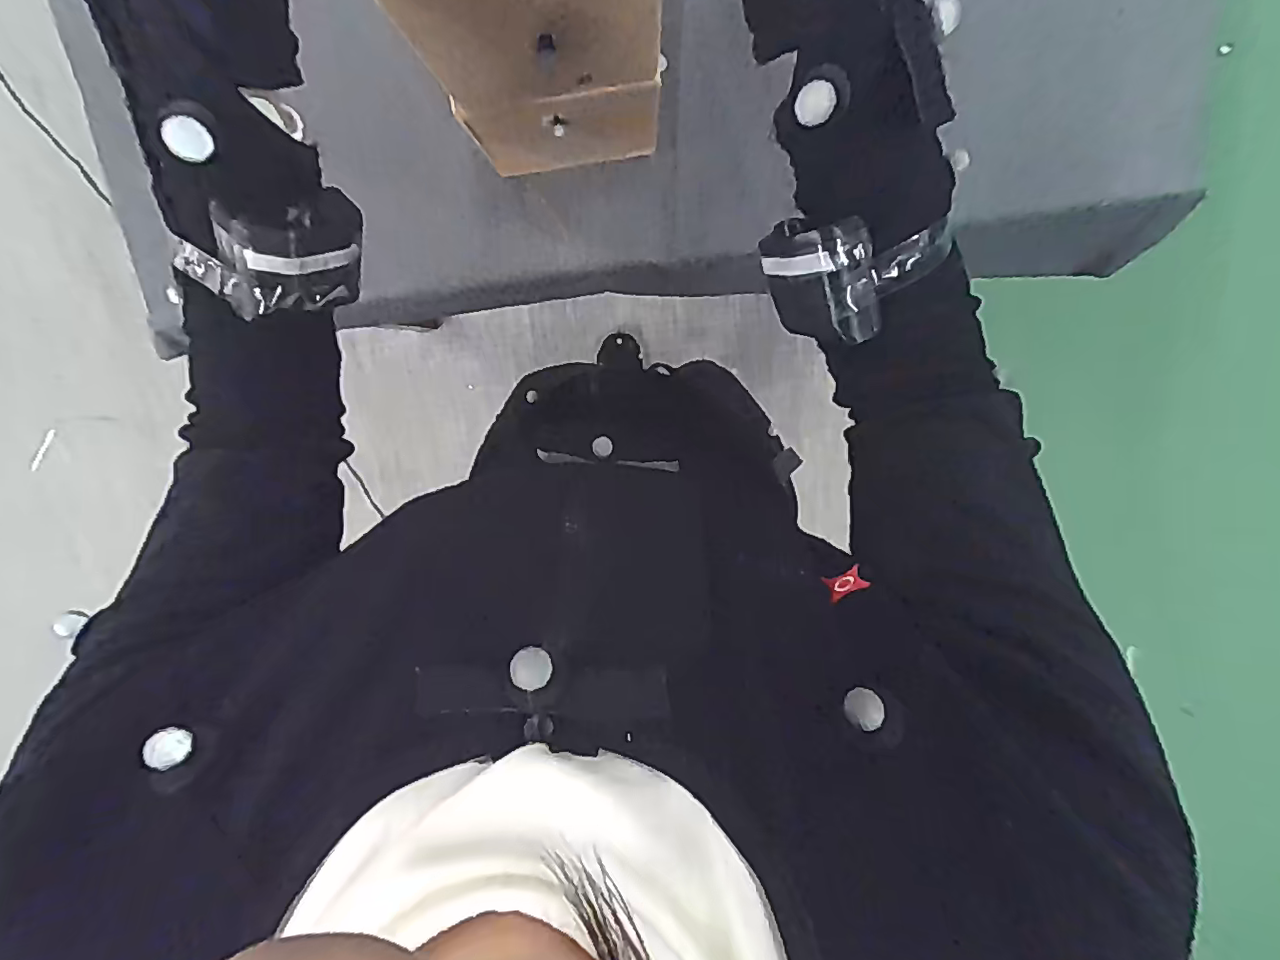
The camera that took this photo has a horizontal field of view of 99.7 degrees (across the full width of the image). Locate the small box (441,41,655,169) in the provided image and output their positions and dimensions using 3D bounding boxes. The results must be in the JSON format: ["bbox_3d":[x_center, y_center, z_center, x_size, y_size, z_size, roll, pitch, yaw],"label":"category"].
[{"bbox_3d":[-0.082,-0.410,0.500,0.179,0.176,0.168,-8,105,1],"label":"small box"}]

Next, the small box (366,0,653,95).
[{"bbox_3d":[-0.083,-0.376,0.340,0.168,0.176,0.179,-9,105,3],"label":"small box"}]
